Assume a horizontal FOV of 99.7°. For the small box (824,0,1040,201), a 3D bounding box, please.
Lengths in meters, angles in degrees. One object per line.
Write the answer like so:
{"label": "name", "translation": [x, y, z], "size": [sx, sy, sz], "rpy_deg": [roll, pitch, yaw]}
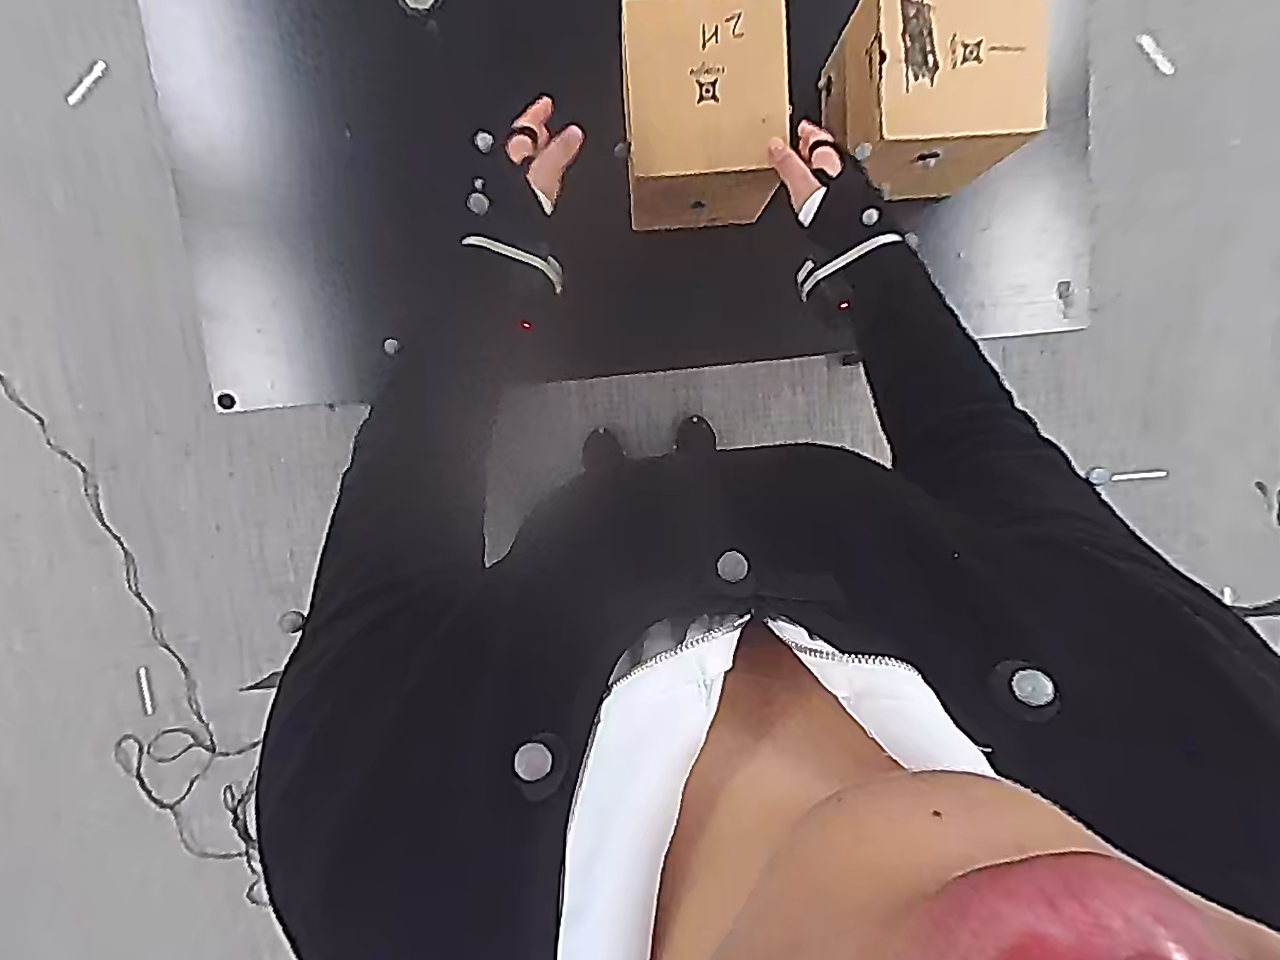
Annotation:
{"label": "small box", "translation": [0.329, -0.450, 0.643], "size": [0.179, 0.176, 0.168], "rpy_deg": [-3, 96, -1]}

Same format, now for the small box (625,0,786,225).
{"label": "small box", "translation": [0.070, -0.418, 0.643], "size": [0.168, 0.176, 0.179], "rpy_deg": [-4, 97, -1]}
